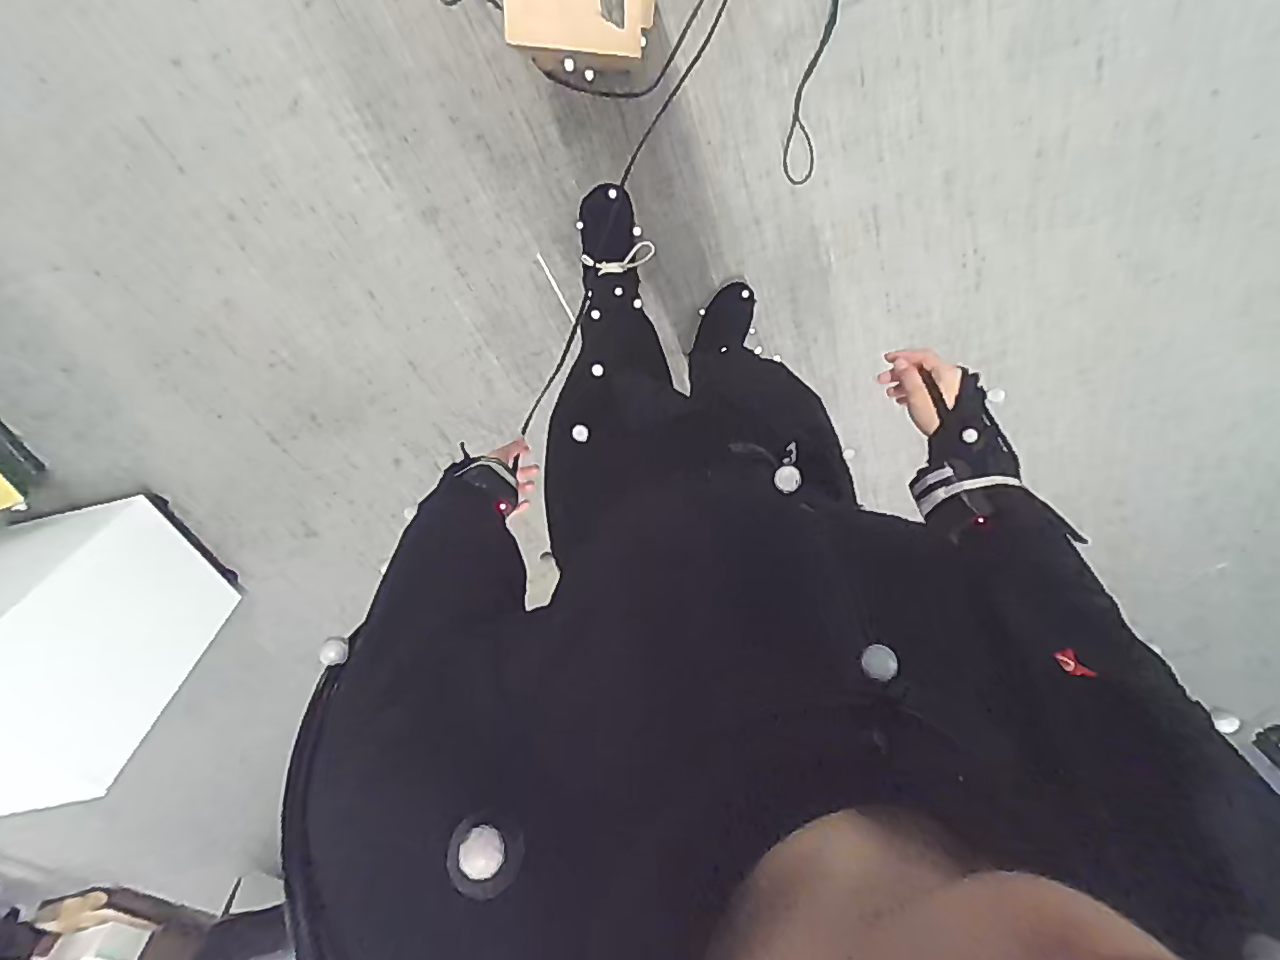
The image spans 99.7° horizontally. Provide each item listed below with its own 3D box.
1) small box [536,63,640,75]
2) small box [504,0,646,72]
[{"bbox_3d":[-0.083,-0.753,0.855,0.168,0.176,0.179,-2,124,-3],"label":"small box"},{"bbox_3d":[-0.083,-0.657,0.720,0.179,0.176,0.168,2,123,-5],"label":"small box"}]
